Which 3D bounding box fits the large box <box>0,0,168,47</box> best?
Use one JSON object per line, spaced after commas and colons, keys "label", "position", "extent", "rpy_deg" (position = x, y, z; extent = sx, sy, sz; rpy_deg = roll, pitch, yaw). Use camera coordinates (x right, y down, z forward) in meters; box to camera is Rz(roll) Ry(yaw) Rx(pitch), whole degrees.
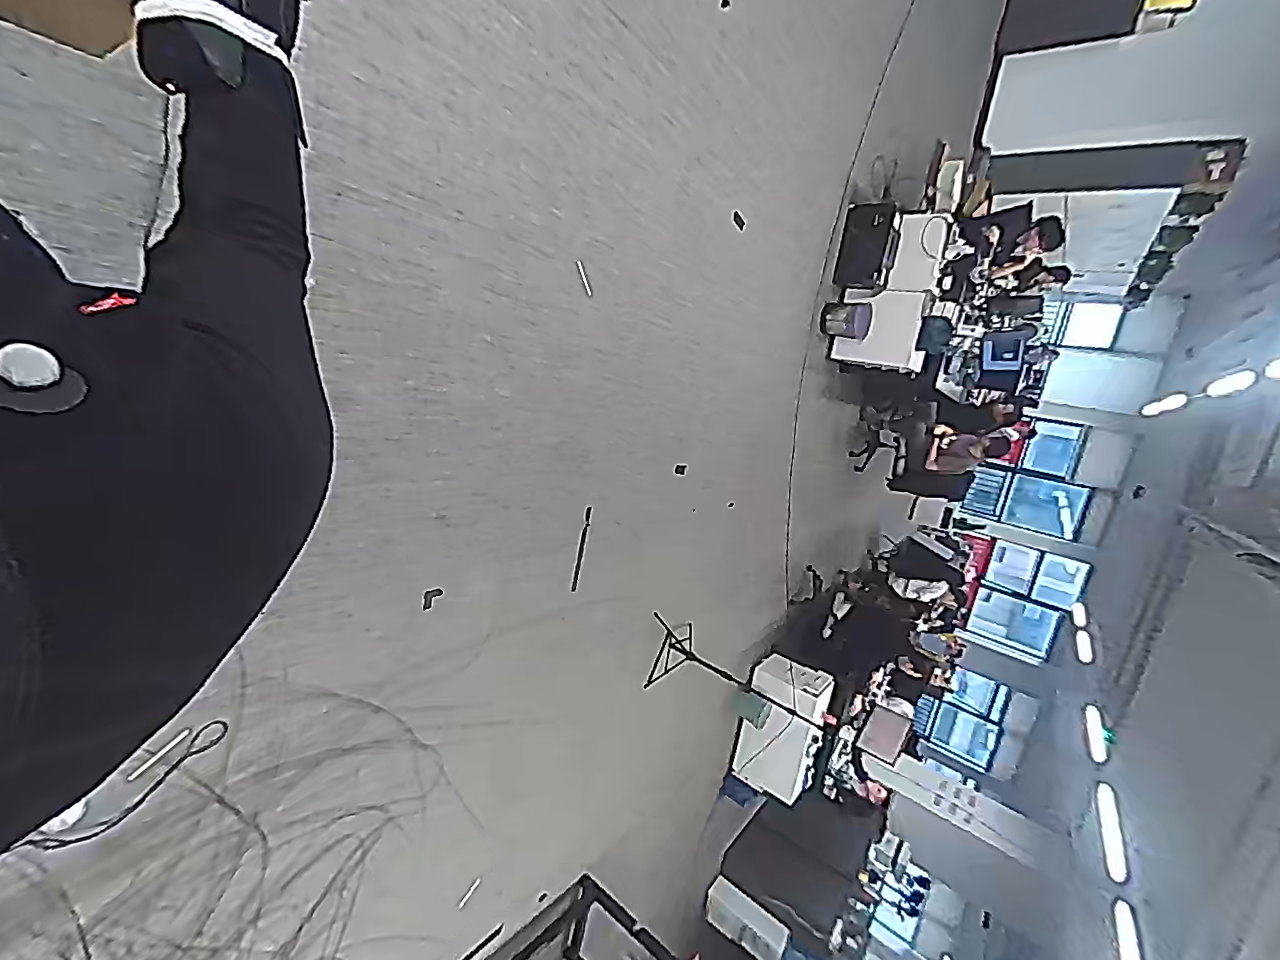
{"label": "large box", "position": [-0.518, -0.516, 0.269], "extent": [0.408, 0.320, 0.320], "rpy_deg": [-6, 113, -54]}
